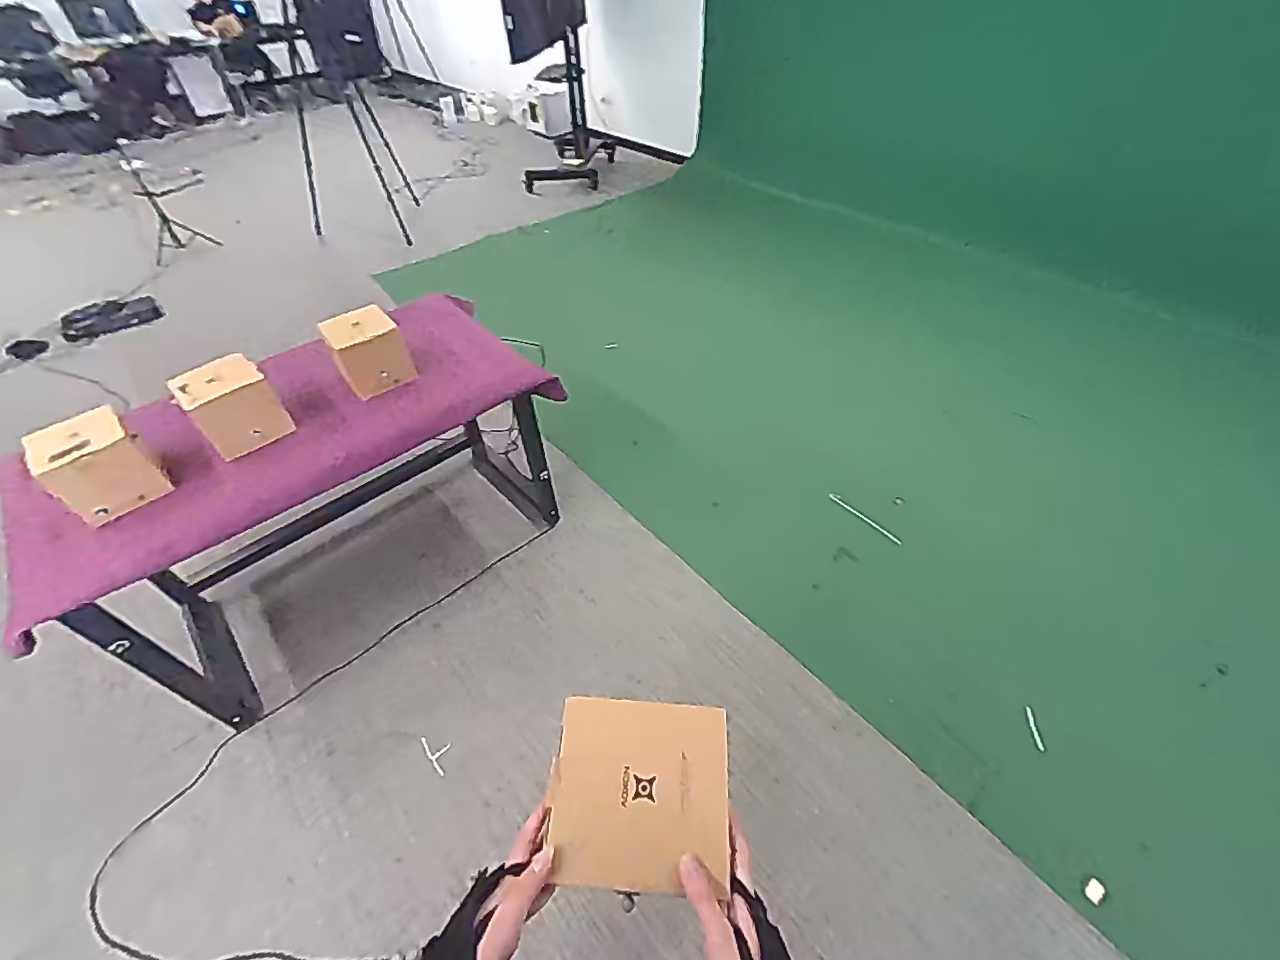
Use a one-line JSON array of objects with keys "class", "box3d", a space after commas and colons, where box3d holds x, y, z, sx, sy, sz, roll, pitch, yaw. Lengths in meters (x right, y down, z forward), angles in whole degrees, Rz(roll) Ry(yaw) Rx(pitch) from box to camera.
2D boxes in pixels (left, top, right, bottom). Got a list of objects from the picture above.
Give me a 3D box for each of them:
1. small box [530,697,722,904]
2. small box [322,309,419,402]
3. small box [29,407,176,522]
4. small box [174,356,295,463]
[{"class": "small box", "box3d": [-0.007, 0.353, 0.593, 0.179, 0.176, 0.168, 4, 53, 2]}, {"class": "small box", "box3d": [-0.749, -0.348, 1.513, 0.168, 0.176, 0.179, -31, 53, -24]}, {"class": "small box", "box3d": [-1.206, -0.030, 1.224, 0.168, 0.176, 0.179, -36, 54, -28]}, {"class": "small box", "box3d": [-1.007, -0.177, 1.359, 0.179, 0.176, 0.168, -36, 54, -29]}]
